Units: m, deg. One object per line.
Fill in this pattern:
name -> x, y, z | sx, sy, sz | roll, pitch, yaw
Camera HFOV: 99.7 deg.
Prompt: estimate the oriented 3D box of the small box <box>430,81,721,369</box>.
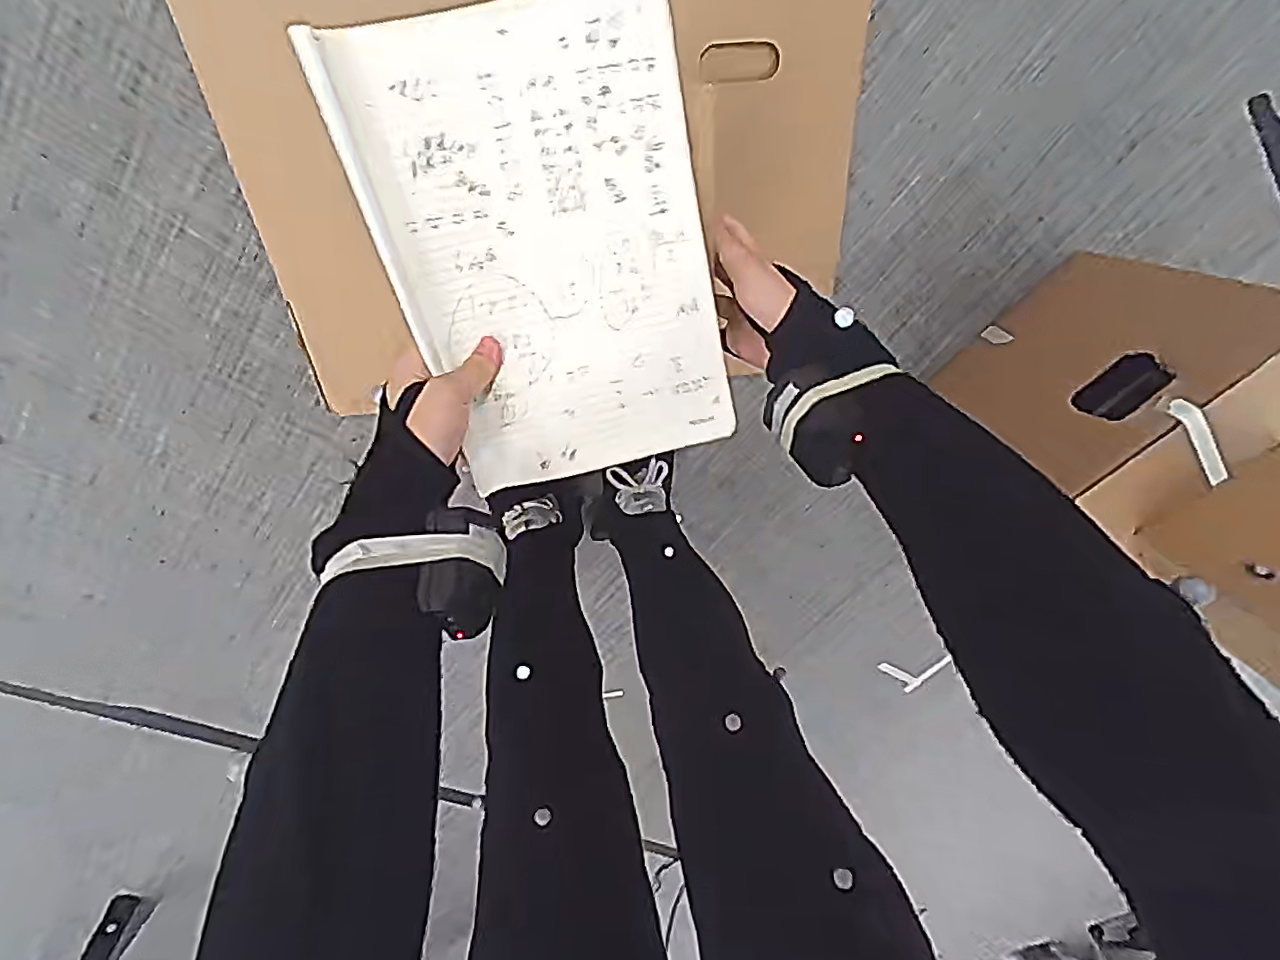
small box -> -0.044, -0.203, 0.427 | 0.179, 0.176, 0.168 | -9, 124, -6
